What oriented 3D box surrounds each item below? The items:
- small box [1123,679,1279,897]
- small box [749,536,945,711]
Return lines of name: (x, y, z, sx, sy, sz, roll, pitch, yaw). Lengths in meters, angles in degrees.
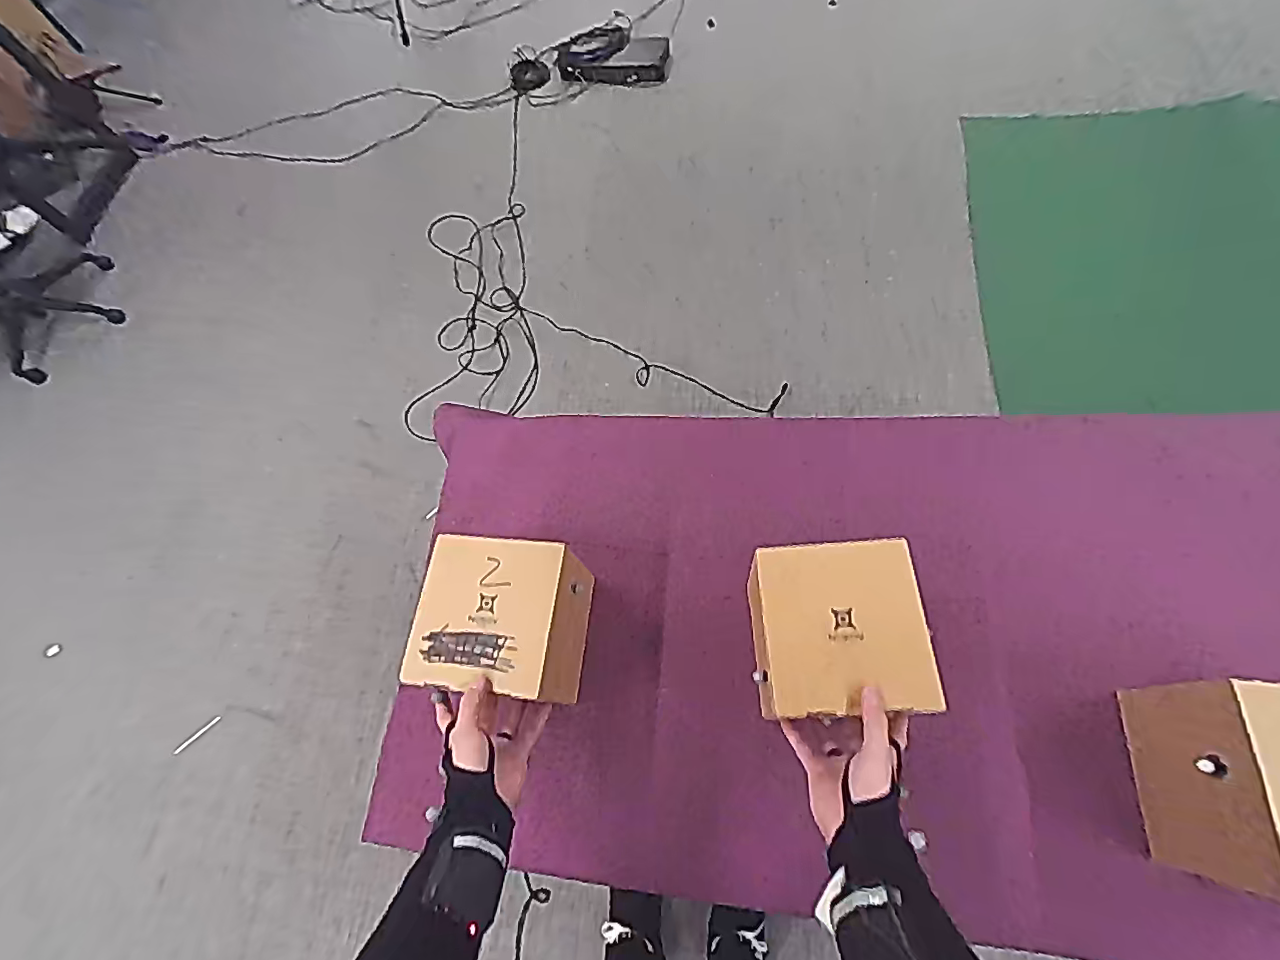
small box: (0.625, 0.302, 0.526, 0.168, 0.176, 0.179, 4, 67, 11)
small box: (0.225, 0.177, 0.641, 0.168, 0.176, 0.179, -4, 67, 6)
